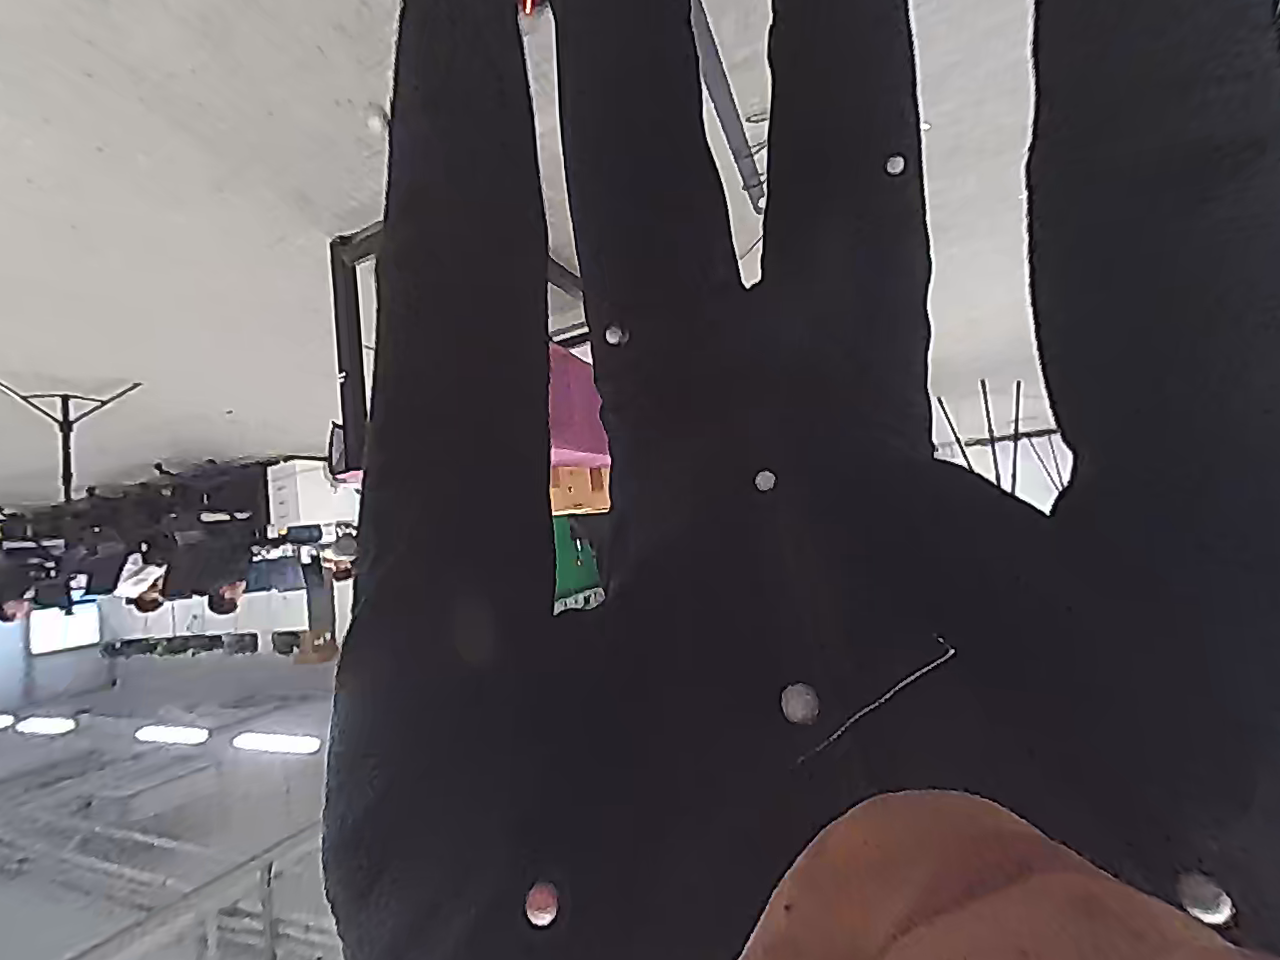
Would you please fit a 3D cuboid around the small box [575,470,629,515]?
[{"bbox_3d":[-0.173,0.053,2.291,0.179,0.176,0.168,-10,174,35],"label":"small box"}]

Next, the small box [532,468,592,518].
[{"bbox_3d":[-0.309,0.049,2.079,0.179,0.176,0.168,-11,173,36],"label":"small box"}]
